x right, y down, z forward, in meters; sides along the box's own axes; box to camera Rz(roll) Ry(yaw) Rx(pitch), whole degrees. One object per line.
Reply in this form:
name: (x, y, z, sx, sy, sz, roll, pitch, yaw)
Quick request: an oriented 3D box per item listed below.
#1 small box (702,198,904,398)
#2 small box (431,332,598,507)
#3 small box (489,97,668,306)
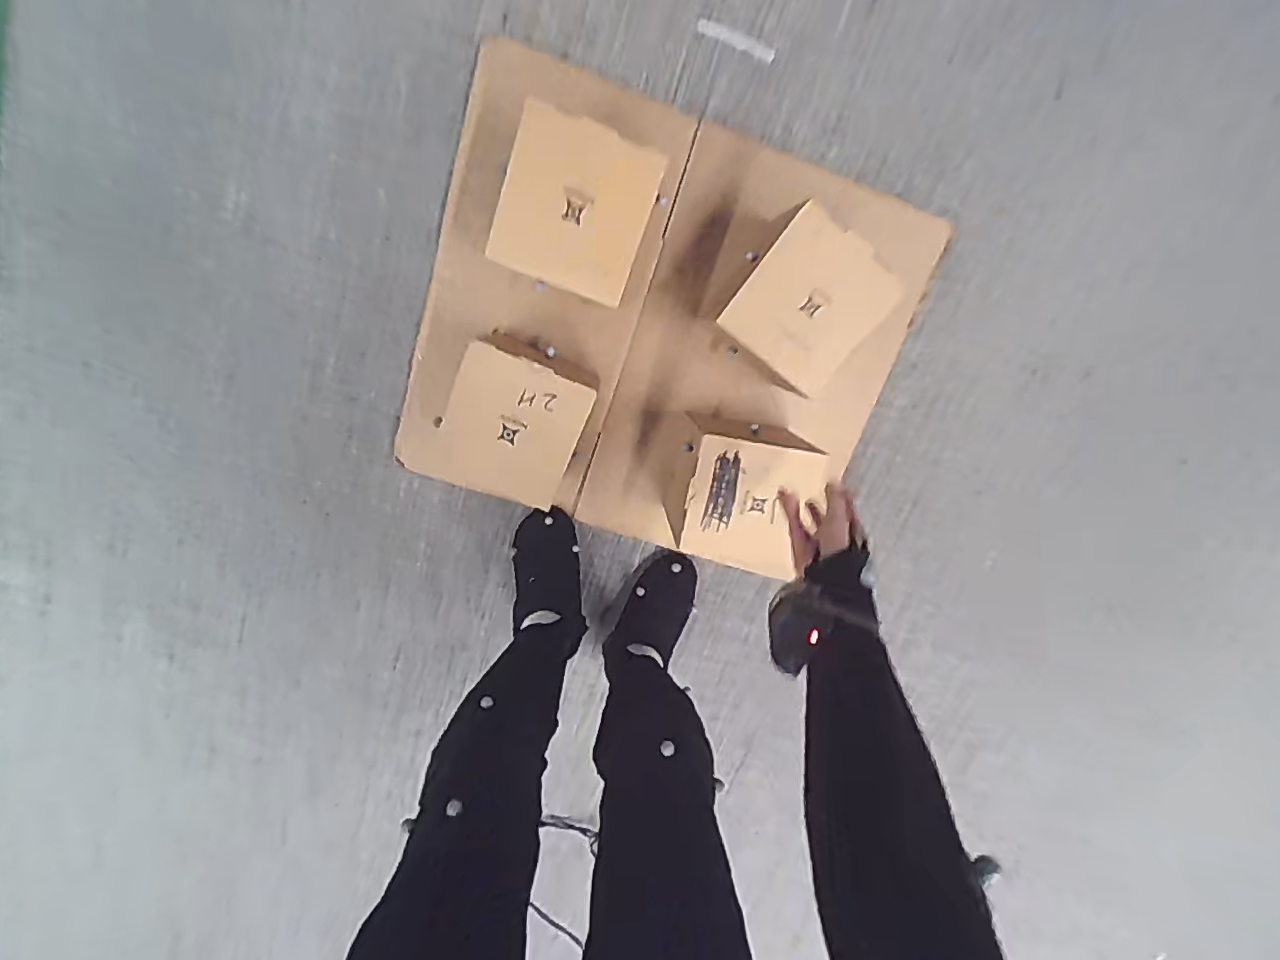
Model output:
small box: (0.203, -0.238, 0.733, 0.168, 0.176, 0.179, 36, 101, -12)
small box: (-0.163, -0.092, 0.759, 0.168, 0.176, 0.179, 23, 103, -10)
small box: (-0.076, -0.334, 0.694, 0.168, 0.176, 0.179, 19, 104, -9)
